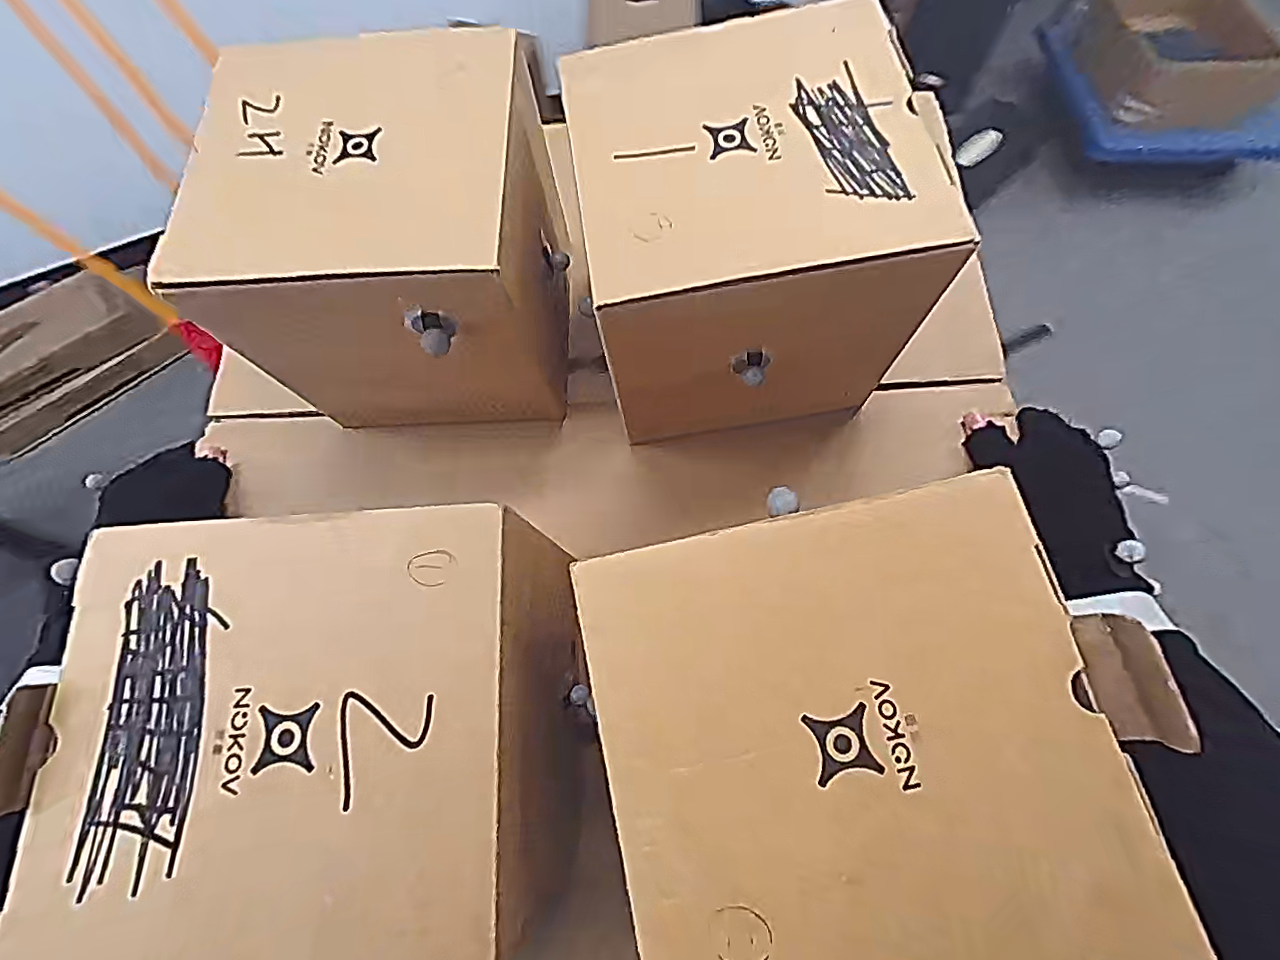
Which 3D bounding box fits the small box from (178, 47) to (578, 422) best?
[{"bbox_3d":[-0.142,-0.148,0.370,0.179,0.176,0.168,0,71,4],"label":"small box"}]
